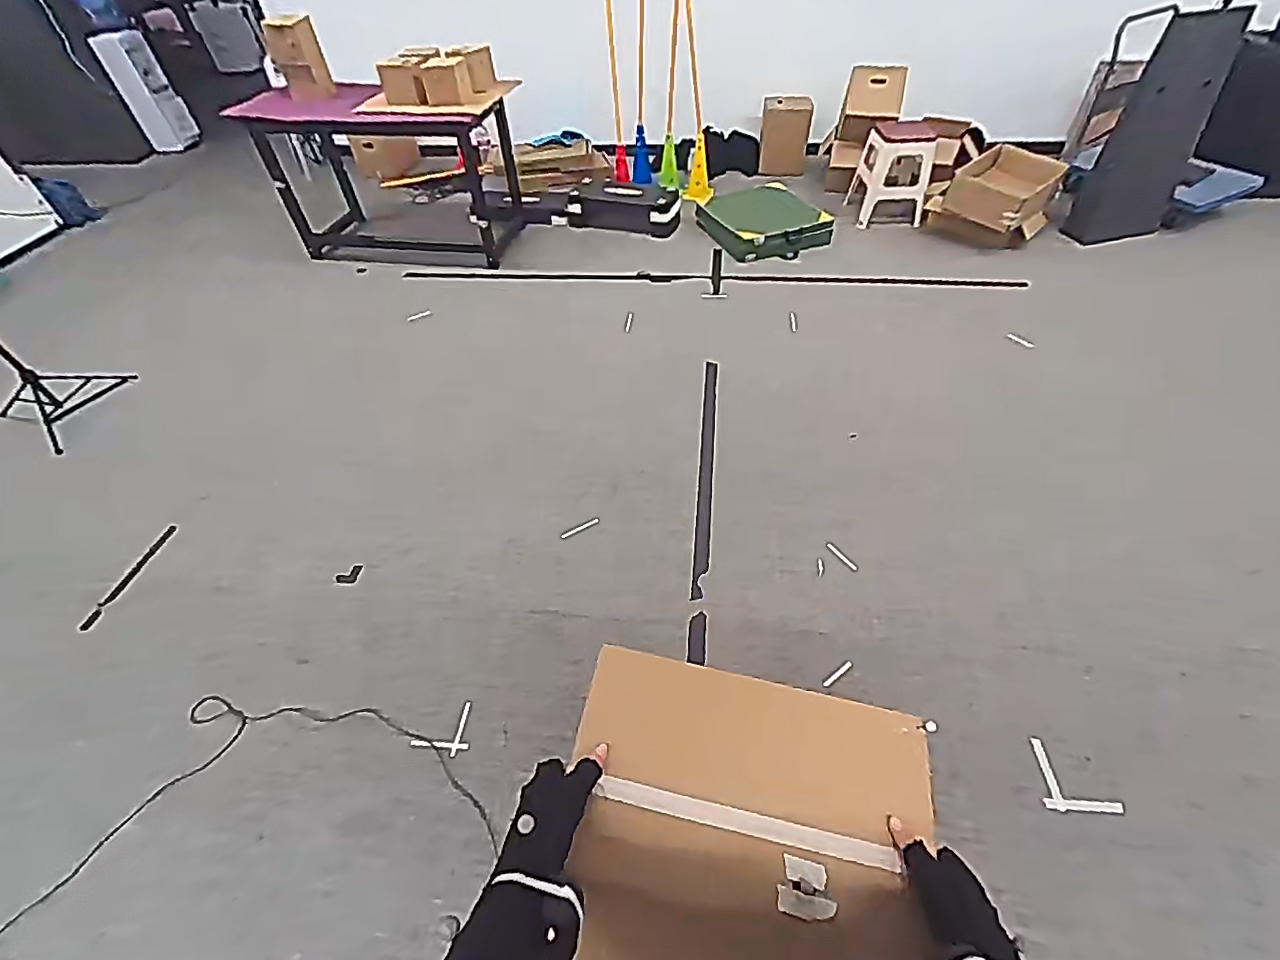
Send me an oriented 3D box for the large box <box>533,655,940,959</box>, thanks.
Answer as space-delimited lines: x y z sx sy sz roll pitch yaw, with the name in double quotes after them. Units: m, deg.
0.112 0.470 0.712 0.408 0.320 0.320 12 54 7 "large box"
